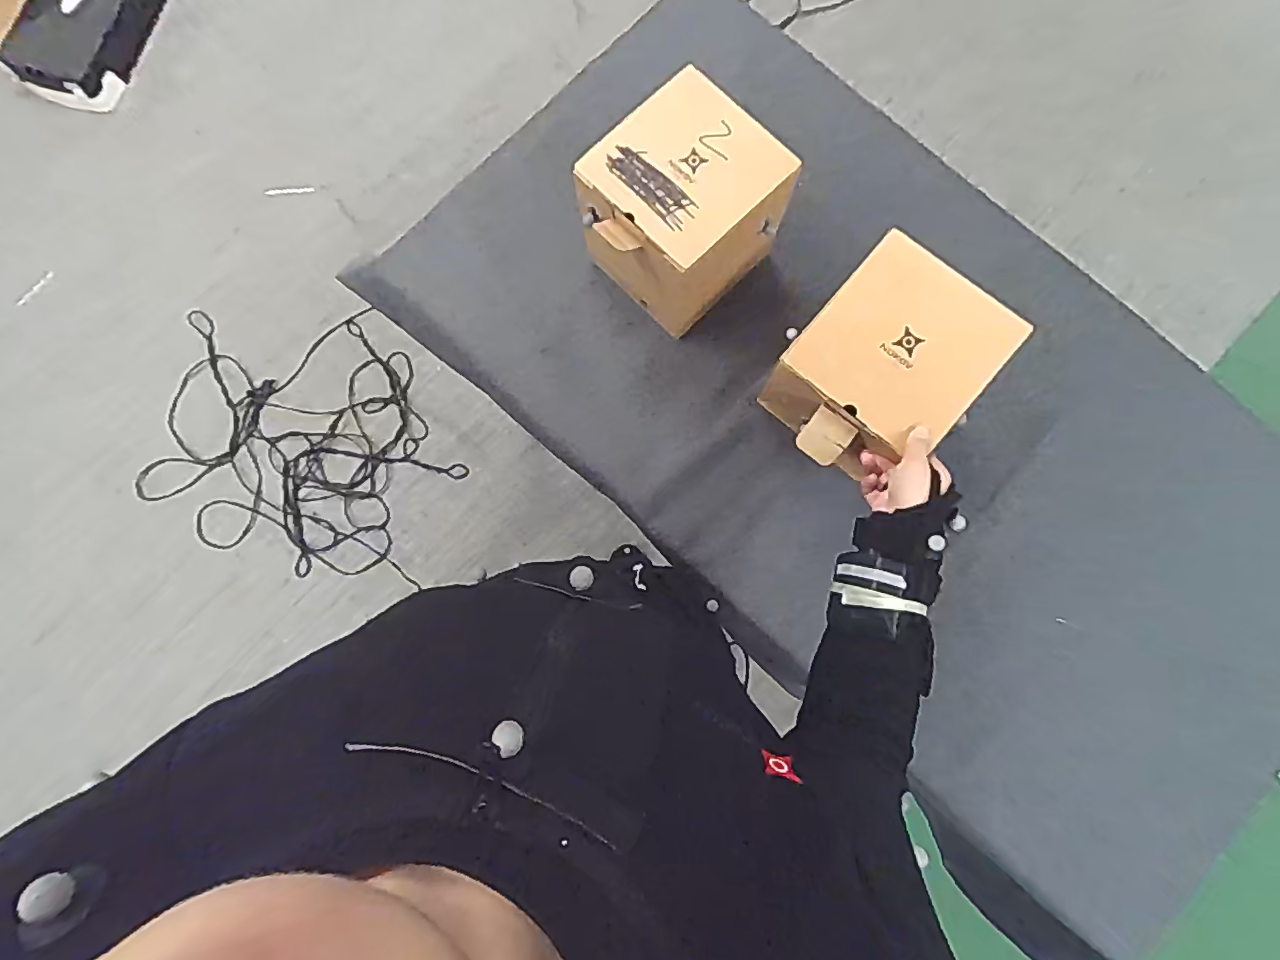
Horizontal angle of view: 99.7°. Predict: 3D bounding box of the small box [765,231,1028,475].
[{"bbox_3d":[0.260,-0.123,0.601,0.168,0.176,0.179,40,89,6],"label":"small box"}]
